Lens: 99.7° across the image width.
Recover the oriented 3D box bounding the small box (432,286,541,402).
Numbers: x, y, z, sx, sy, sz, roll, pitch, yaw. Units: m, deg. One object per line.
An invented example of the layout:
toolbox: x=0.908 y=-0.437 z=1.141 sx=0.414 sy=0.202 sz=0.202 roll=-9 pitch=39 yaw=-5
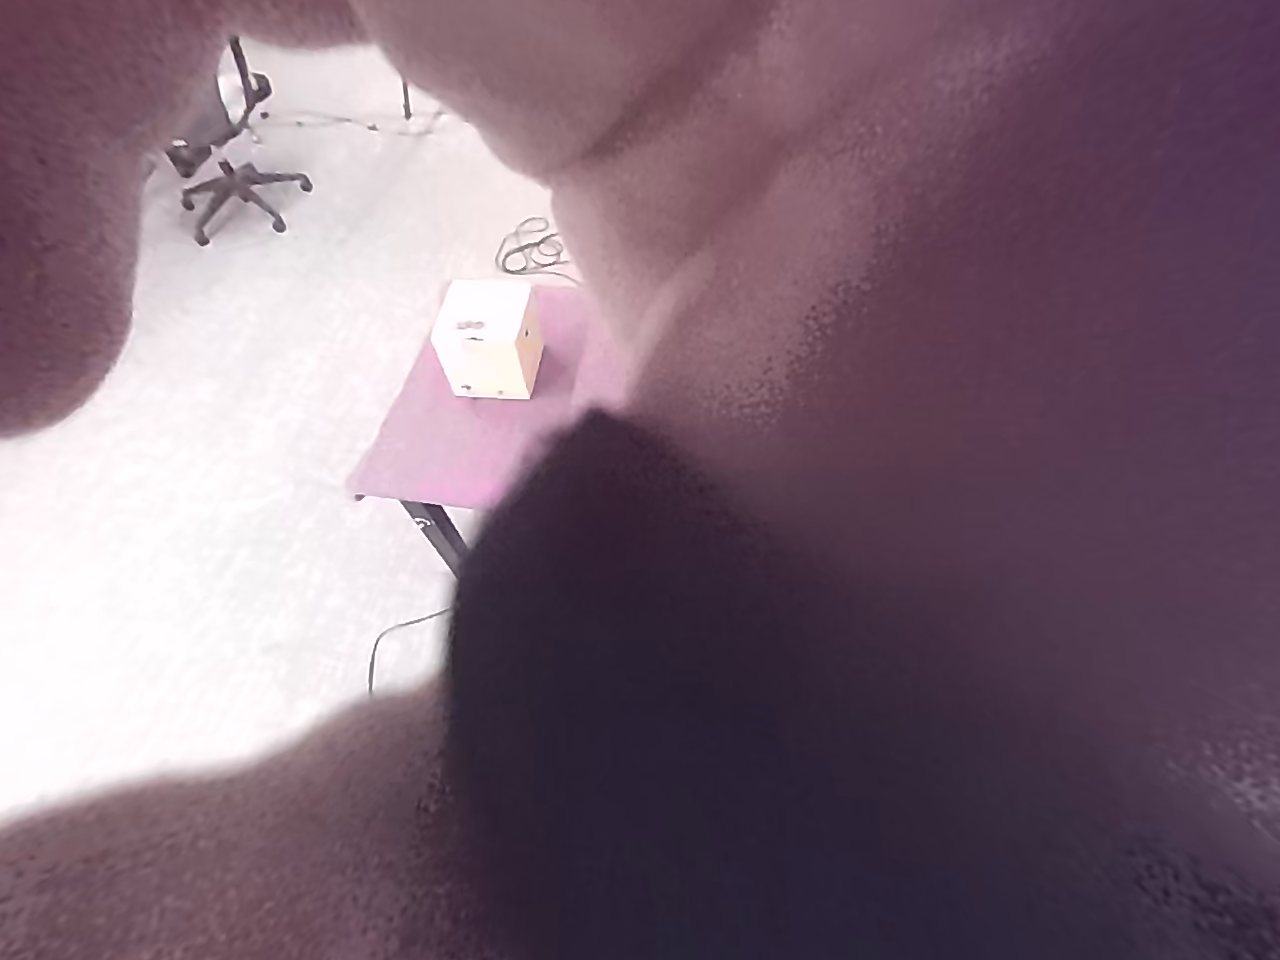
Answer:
small box: x=-0.312 y=-0.282 z=1.140 sx=0.168 sy=0.176 sz=0.179 roll=4 pitch=56 yaw=2
